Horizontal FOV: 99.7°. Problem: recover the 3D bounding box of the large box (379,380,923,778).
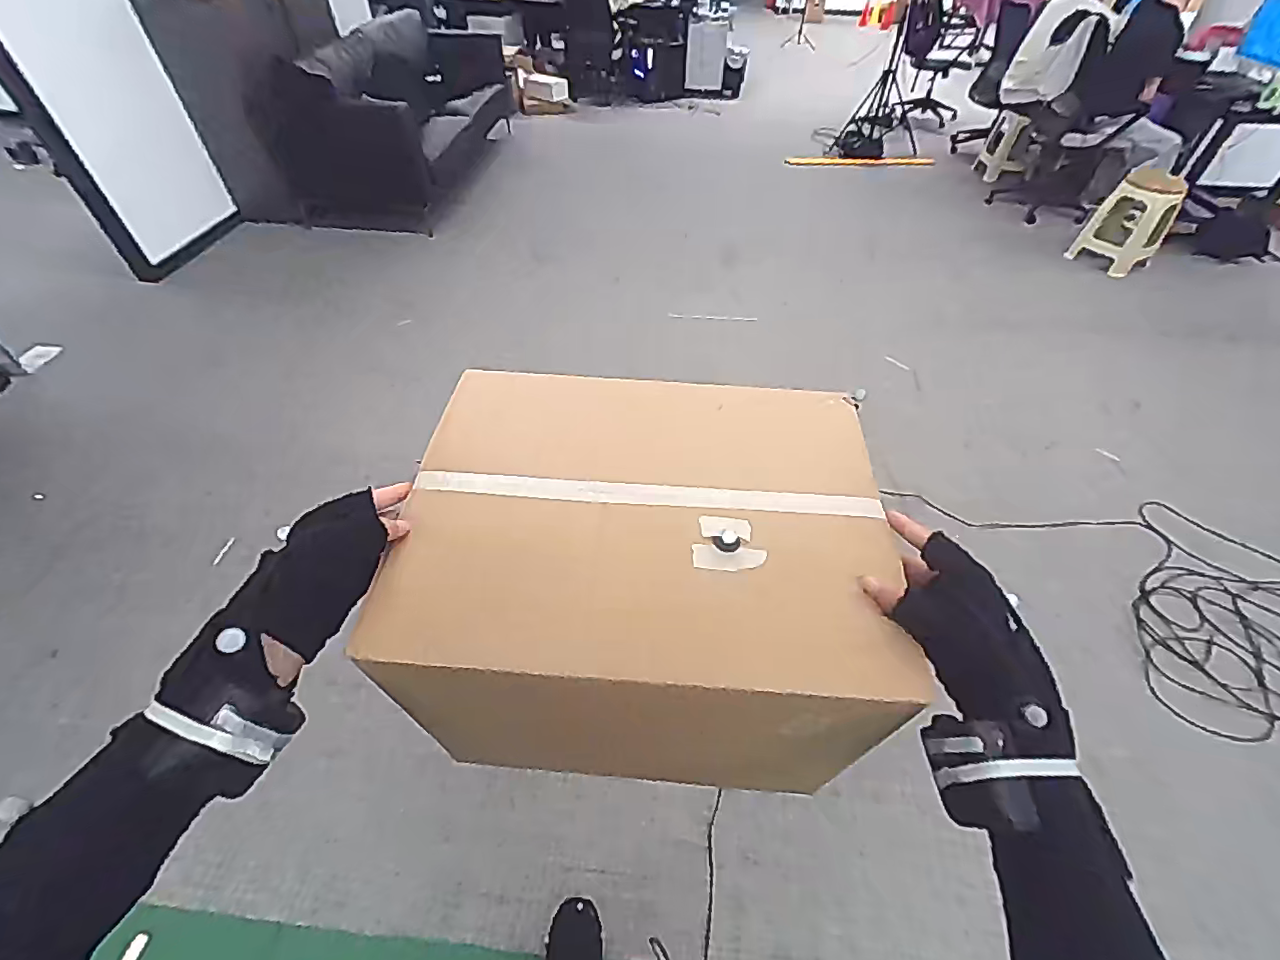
[{"bbox_3d":[0.008,0.115,0.595,0.408,0.320,0.320,4,51,1],"label":"large box"}]
